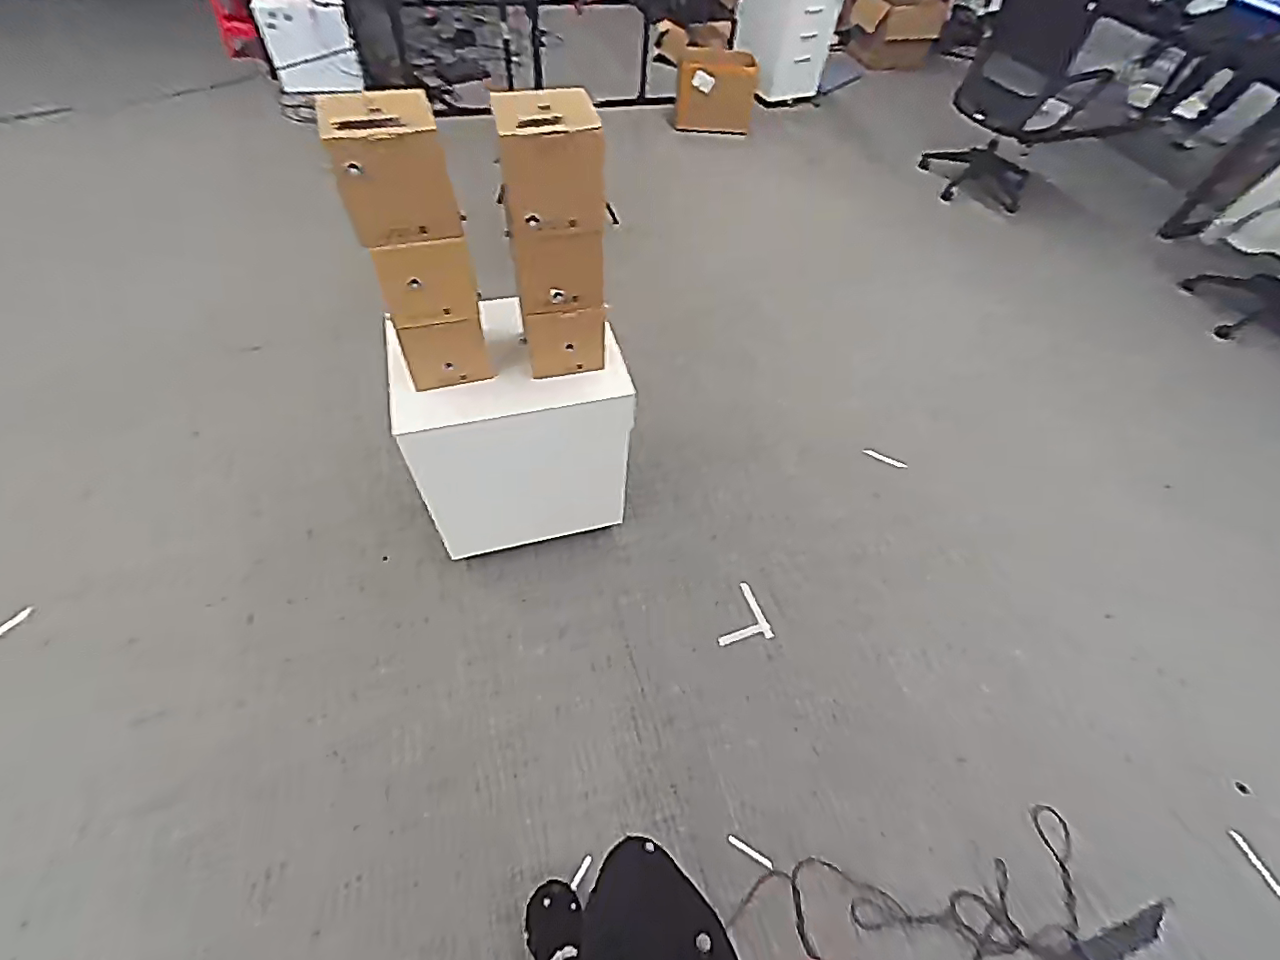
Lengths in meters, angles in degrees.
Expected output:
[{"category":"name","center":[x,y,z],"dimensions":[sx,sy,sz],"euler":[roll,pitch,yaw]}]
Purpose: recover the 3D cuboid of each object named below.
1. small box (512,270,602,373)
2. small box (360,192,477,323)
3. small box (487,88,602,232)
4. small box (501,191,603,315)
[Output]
[{"category":"small box","center":[-0.181,-0.356,1.205],"dimensions":[0.168,0.176,0.179],"euler":[-11,57,-13]},{"category":"small box","center":[-0.415,-0.415,1.027],"dimensions":[0.168,0.176,0.179],"euler":[-13,56,-14]},{"category":"small box","center":[-0.162,-0.551,0.944],"dimensions":[0.168,0.176,0.179],"euler":[-11,54,-10]},{"category":"small box","center":[-0.174,-0.458,1.078],"dimensions":[0.168,0.176,0.179],"euler":[-12,57,-11]}]
